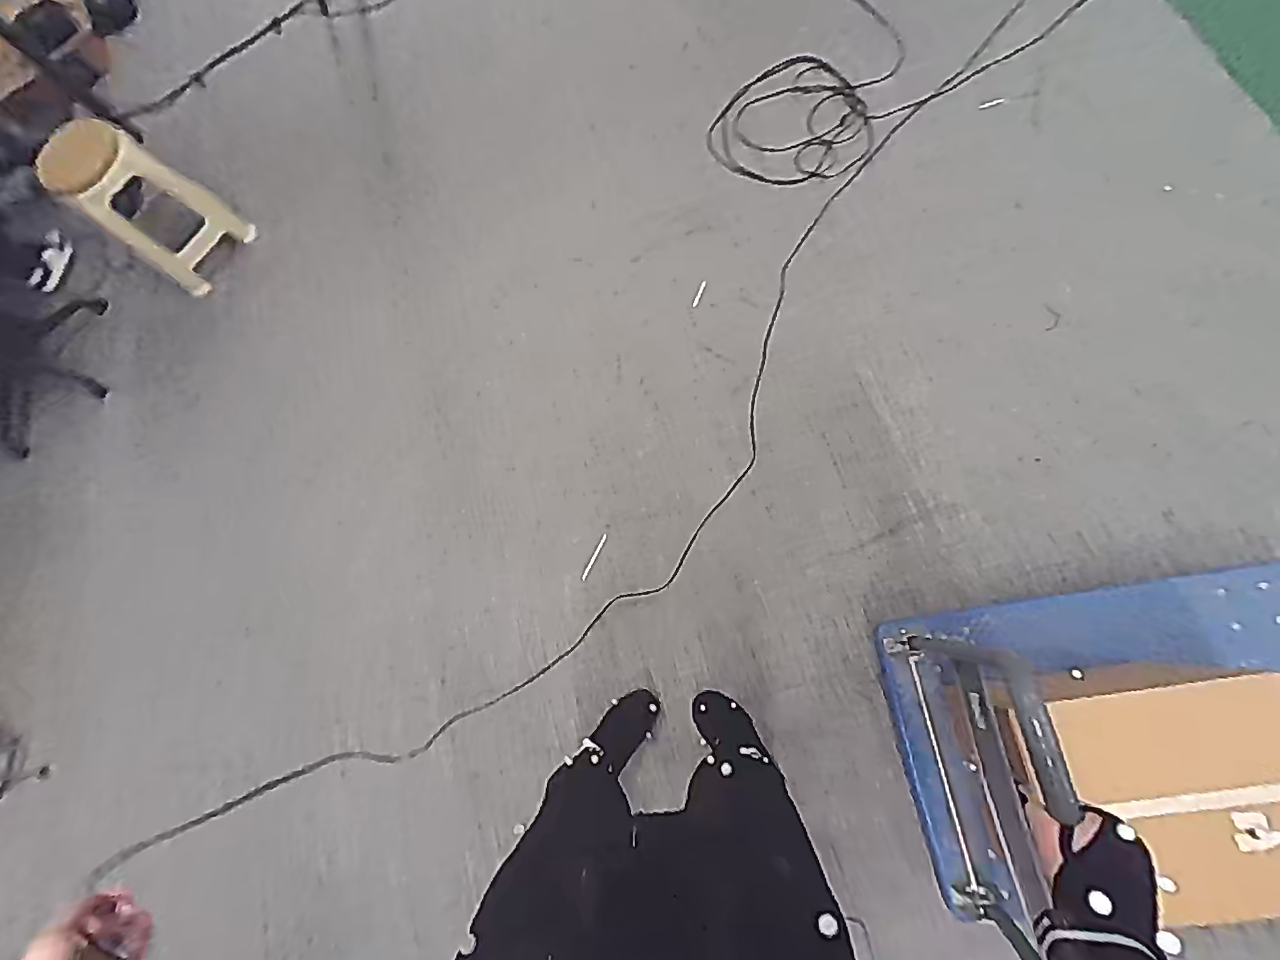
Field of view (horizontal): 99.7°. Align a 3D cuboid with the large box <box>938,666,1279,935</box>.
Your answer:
[{"bbox_3d":[0.828,0.524,0.956,0.408,0.320,0.320,-12,73,7],"label":"large box"}]
